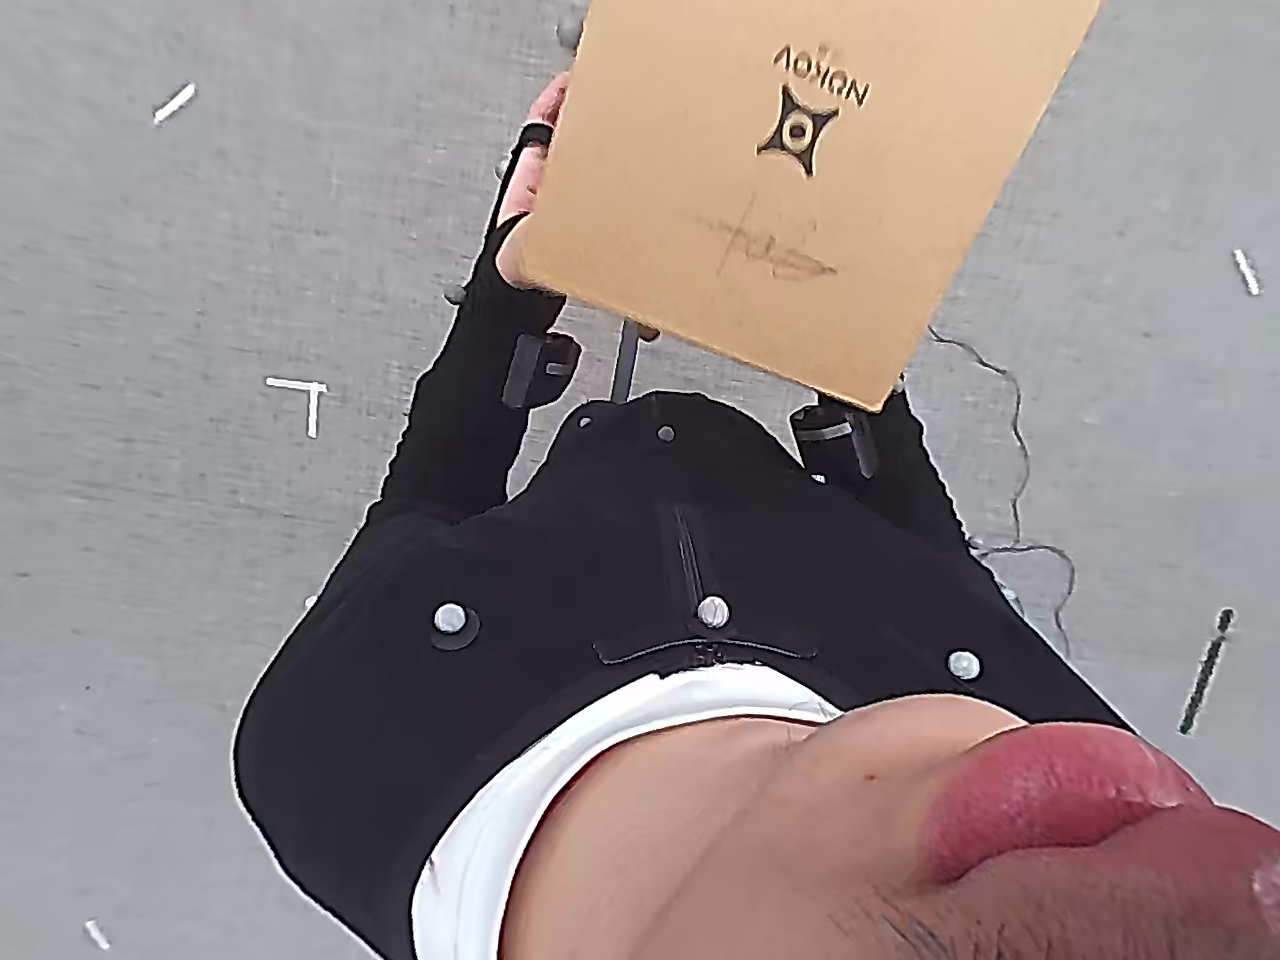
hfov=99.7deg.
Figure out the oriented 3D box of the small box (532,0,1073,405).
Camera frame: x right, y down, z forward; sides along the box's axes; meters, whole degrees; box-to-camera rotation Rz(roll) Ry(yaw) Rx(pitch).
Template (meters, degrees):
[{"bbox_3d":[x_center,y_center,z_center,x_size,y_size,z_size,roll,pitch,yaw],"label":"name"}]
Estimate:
[{"bbox_3d":[0.053,-0.164,0.284,0.168,0.176,0.179,17,111,-10],"label":"small box"}]
